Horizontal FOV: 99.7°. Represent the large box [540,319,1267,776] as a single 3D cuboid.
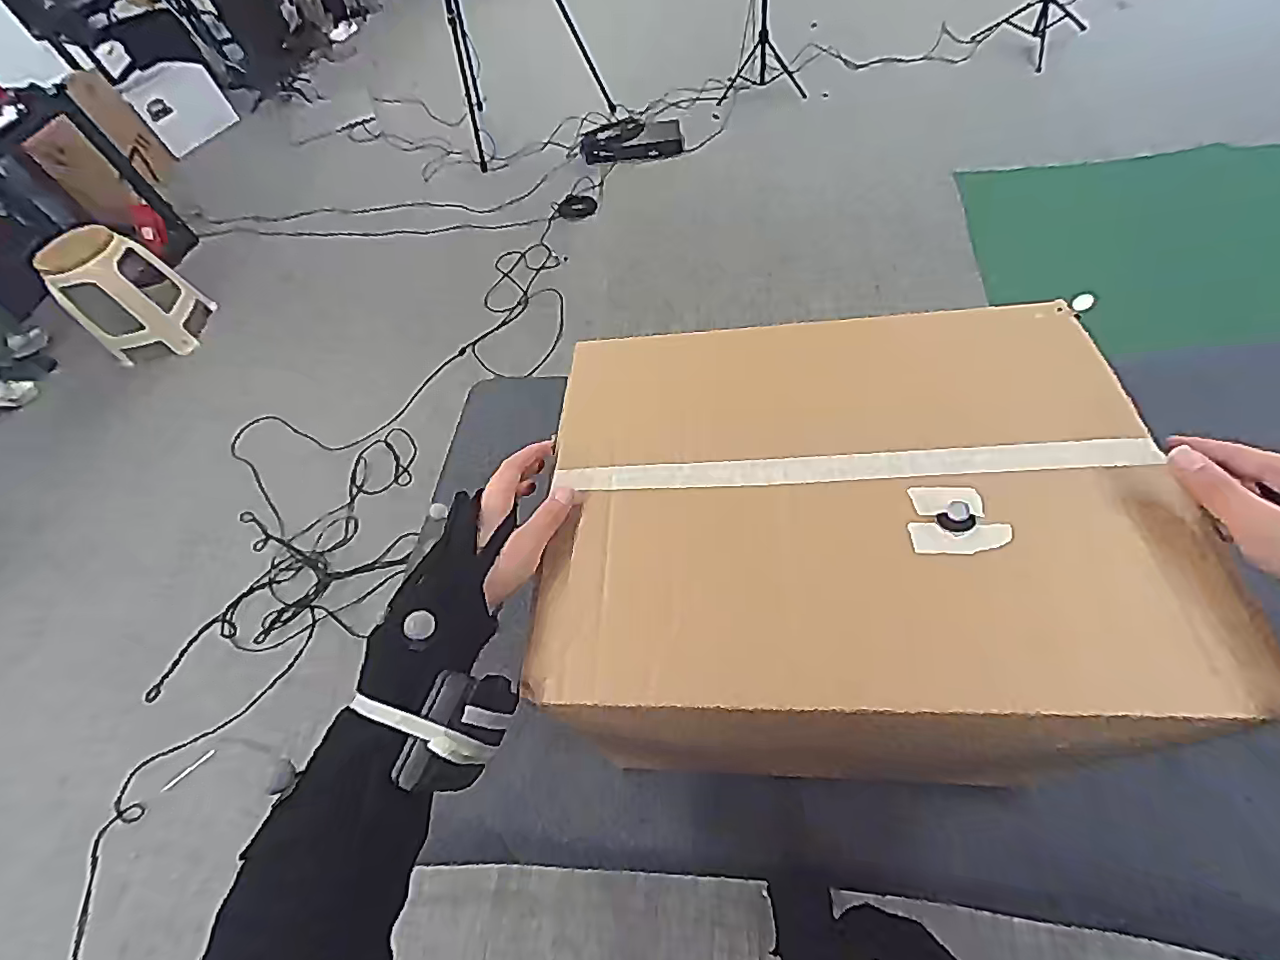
[{"bbox_3d":[0.156,0.085,0.510,0.408,0.320,0.320,-2,56,8],"label":"large box"}]
